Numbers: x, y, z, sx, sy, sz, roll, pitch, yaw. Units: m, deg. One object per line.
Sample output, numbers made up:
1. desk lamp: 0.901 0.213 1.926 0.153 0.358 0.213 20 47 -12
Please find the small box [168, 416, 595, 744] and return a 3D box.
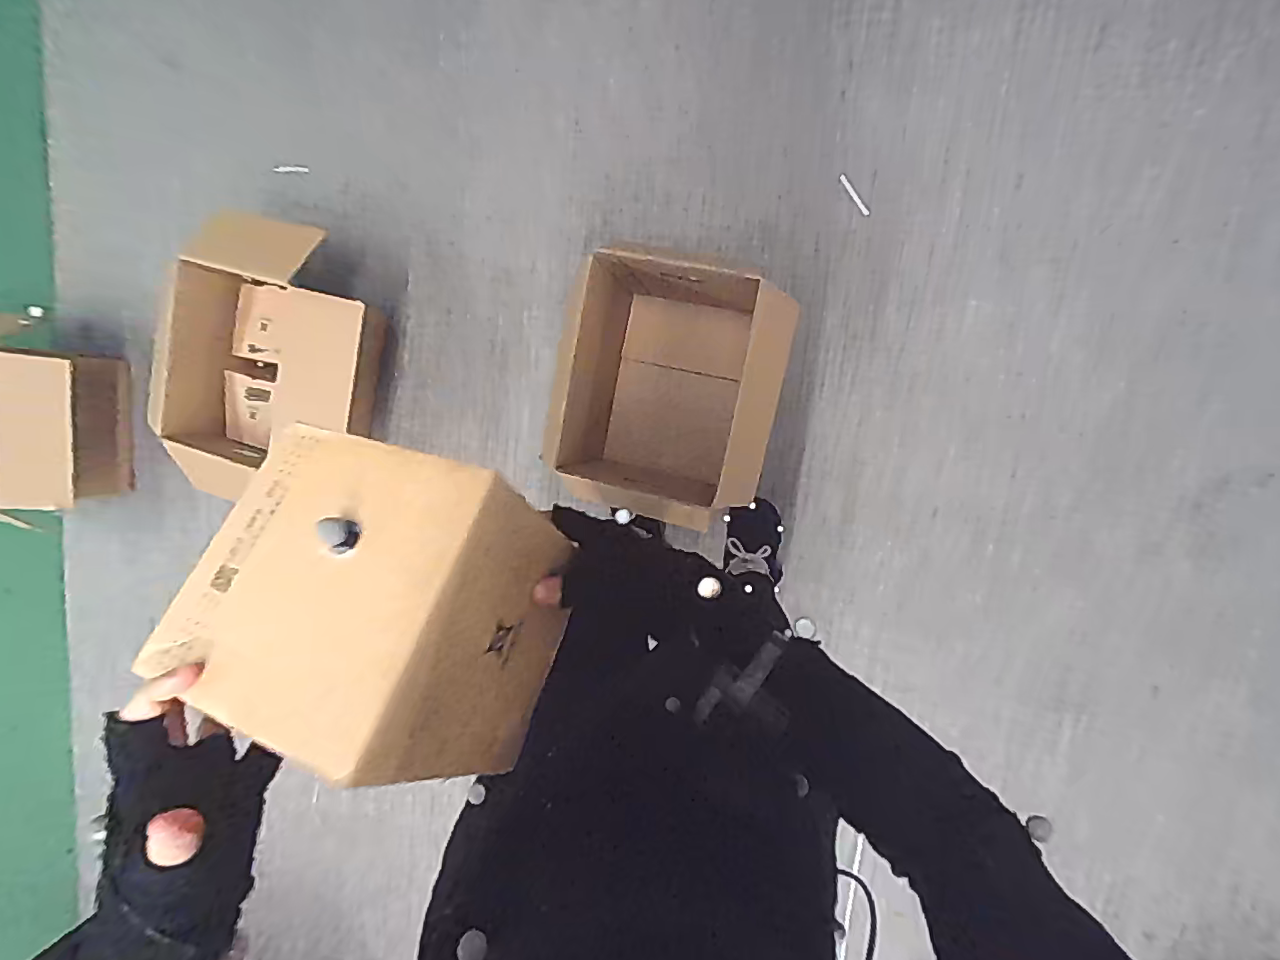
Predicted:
1. small box: -0.156 0.069 0.376 0.176 0.179 0.168 13 69 18
